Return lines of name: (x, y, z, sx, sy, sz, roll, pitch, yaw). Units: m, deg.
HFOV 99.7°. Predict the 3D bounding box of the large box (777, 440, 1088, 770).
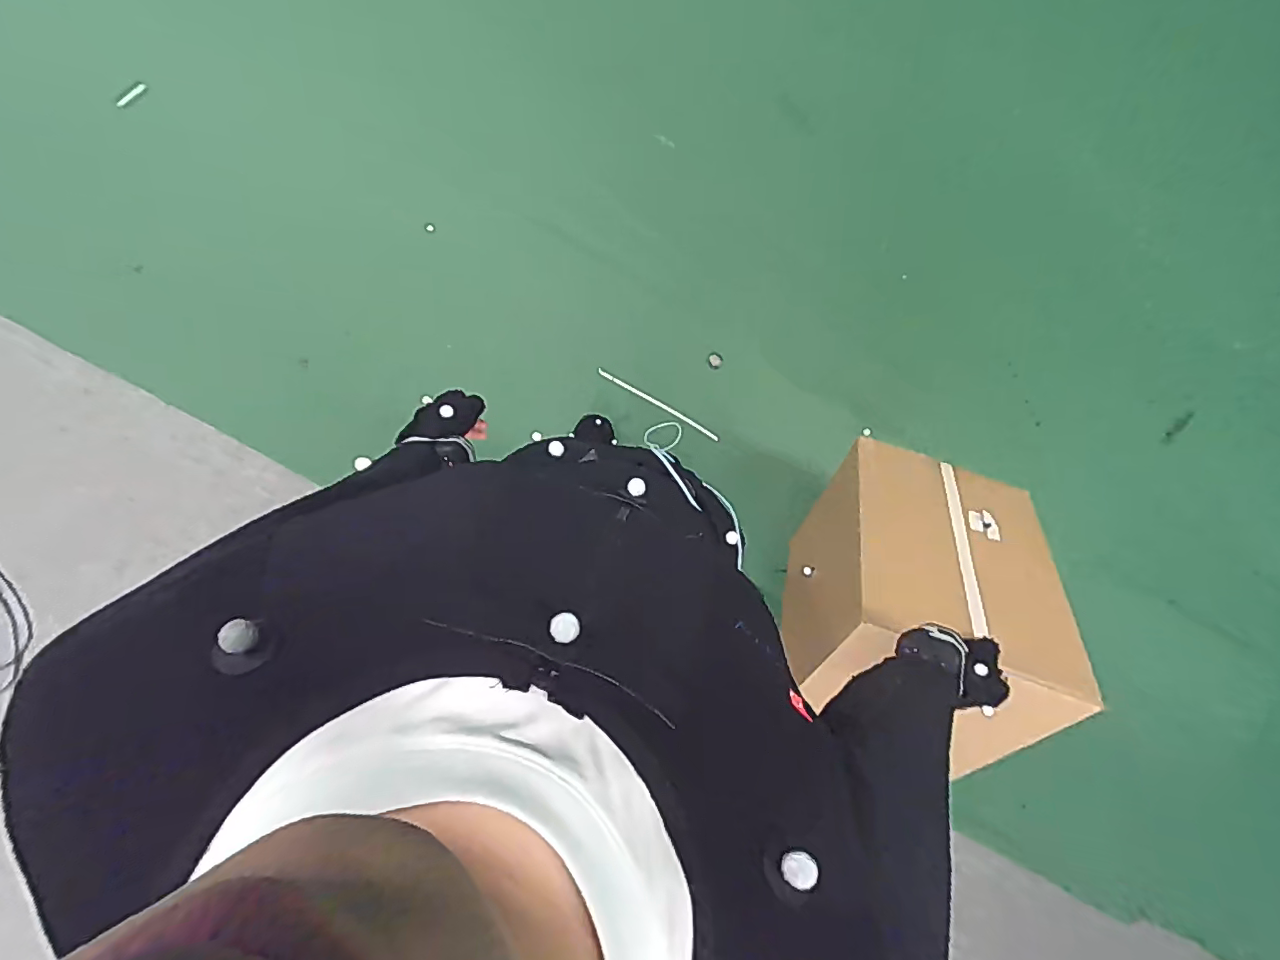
large box: (0.450, 0.206, 0.938, 0.320, 0.408, 0.320, 21, 134, 2)
